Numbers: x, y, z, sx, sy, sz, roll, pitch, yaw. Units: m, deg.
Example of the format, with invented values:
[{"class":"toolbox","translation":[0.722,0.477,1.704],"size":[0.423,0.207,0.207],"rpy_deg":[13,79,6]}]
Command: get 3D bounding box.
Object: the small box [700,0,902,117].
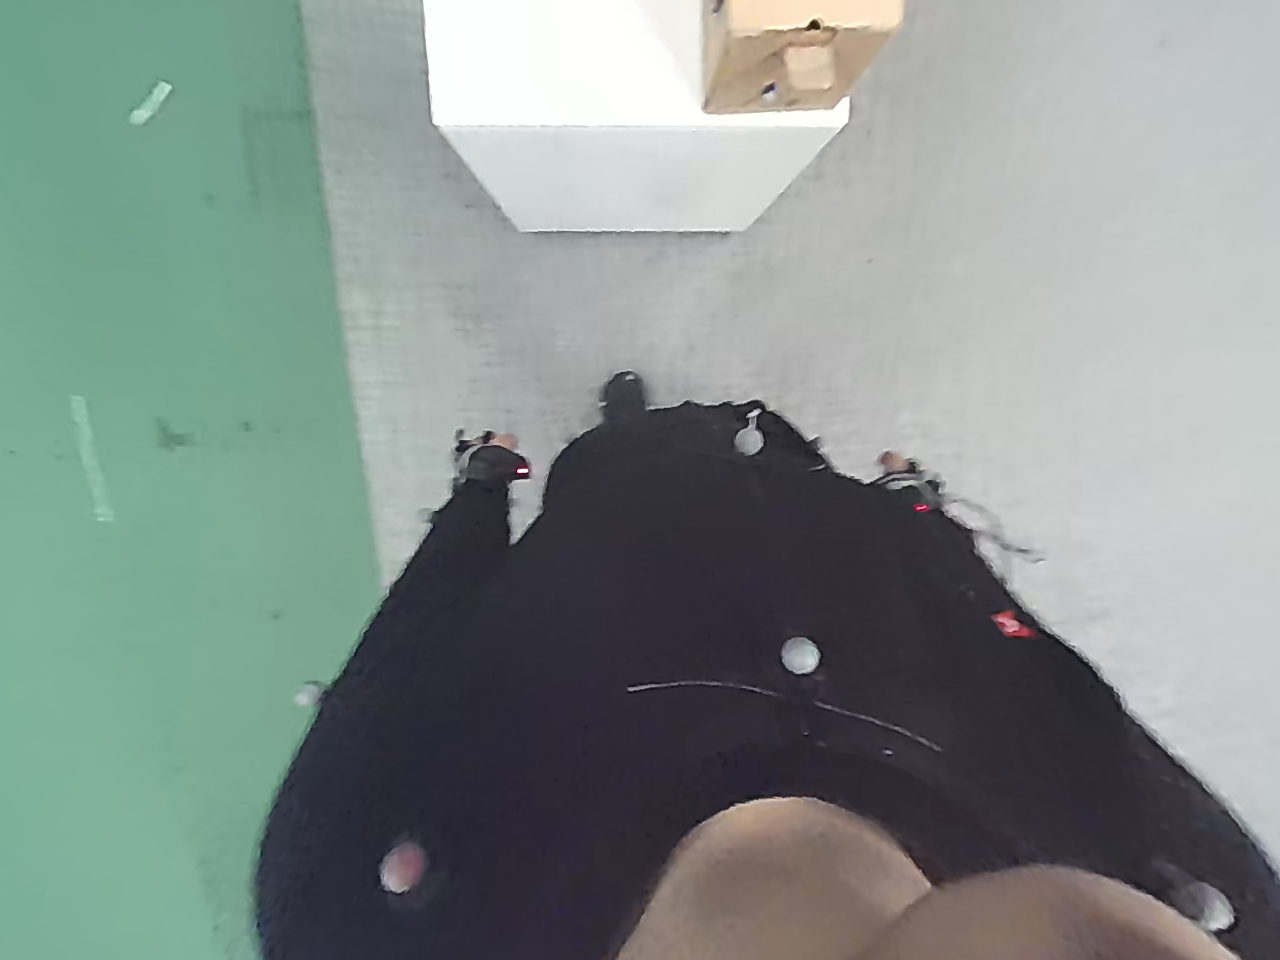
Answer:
[{"class":"small box","translation":[0.156,-0.517,0.568],"size":[0.168,0.176,0.179],"rpy_deg":[-3,102,-2]}]
